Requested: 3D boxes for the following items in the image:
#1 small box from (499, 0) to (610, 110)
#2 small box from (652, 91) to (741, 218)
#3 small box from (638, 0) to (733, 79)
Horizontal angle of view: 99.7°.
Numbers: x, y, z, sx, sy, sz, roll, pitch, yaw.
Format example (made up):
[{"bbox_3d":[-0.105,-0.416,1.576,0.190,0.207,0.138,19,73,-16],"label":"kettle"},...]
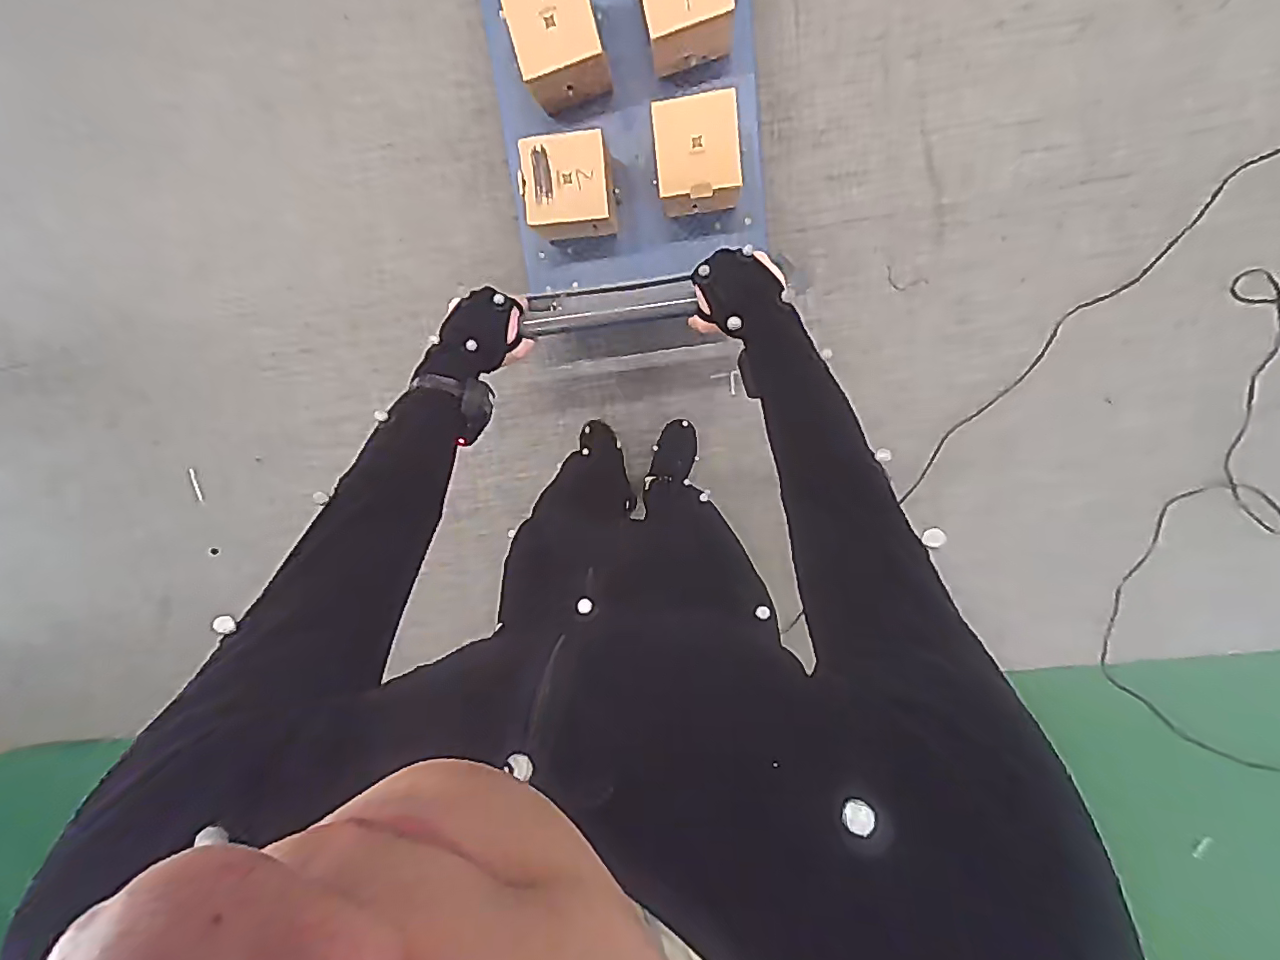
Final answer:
[{"bbox_3d":[-0.168,-0.898,1.112,0.168,0.176,0.179,-14,102,8],"label":"small box"},{"bbox_3d":[0.118,-0.676,1.142,0.168,0.176,0.179,-6,104,7],"label":"small box"},{"bbox_3d":[0.083,-0.951,1.073,0.168,0.176,0.179,-13,104,10],"label":"small box"}]
